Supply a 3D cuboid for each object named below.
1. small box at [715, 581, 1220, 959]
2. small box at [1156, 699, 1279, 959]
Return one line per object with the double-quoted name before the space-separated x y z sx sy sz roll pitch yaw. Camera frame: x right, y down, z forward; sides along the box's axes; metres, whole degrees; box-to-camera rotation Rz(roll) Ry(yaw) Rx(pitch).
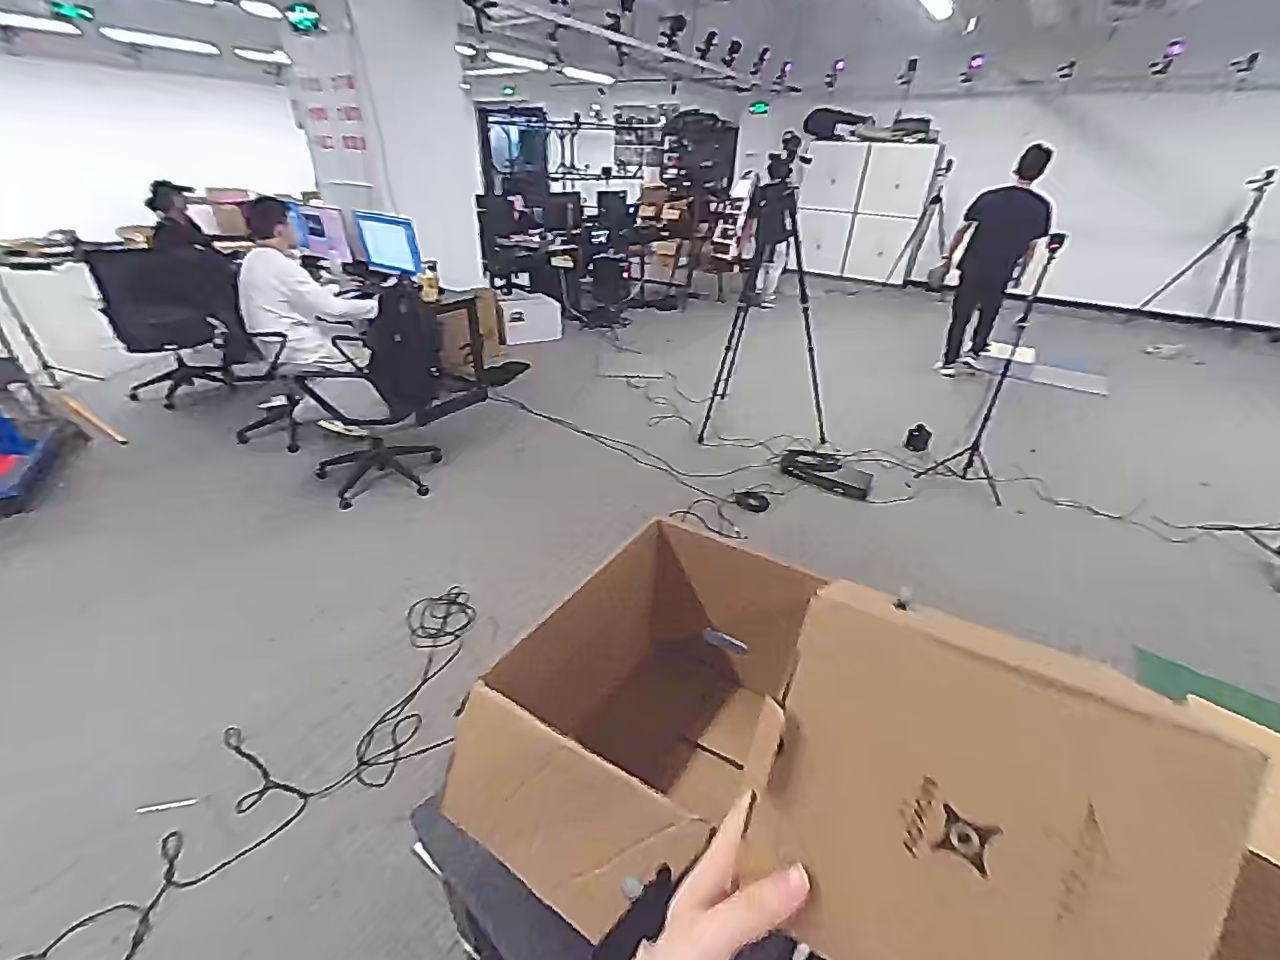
"small box" 0.170 0.167 0.329 0.179 0.168 0.176 17 2 24
"small box" 0.566 0.357 0.507 0.179 0.176 0.168 27 40 34
